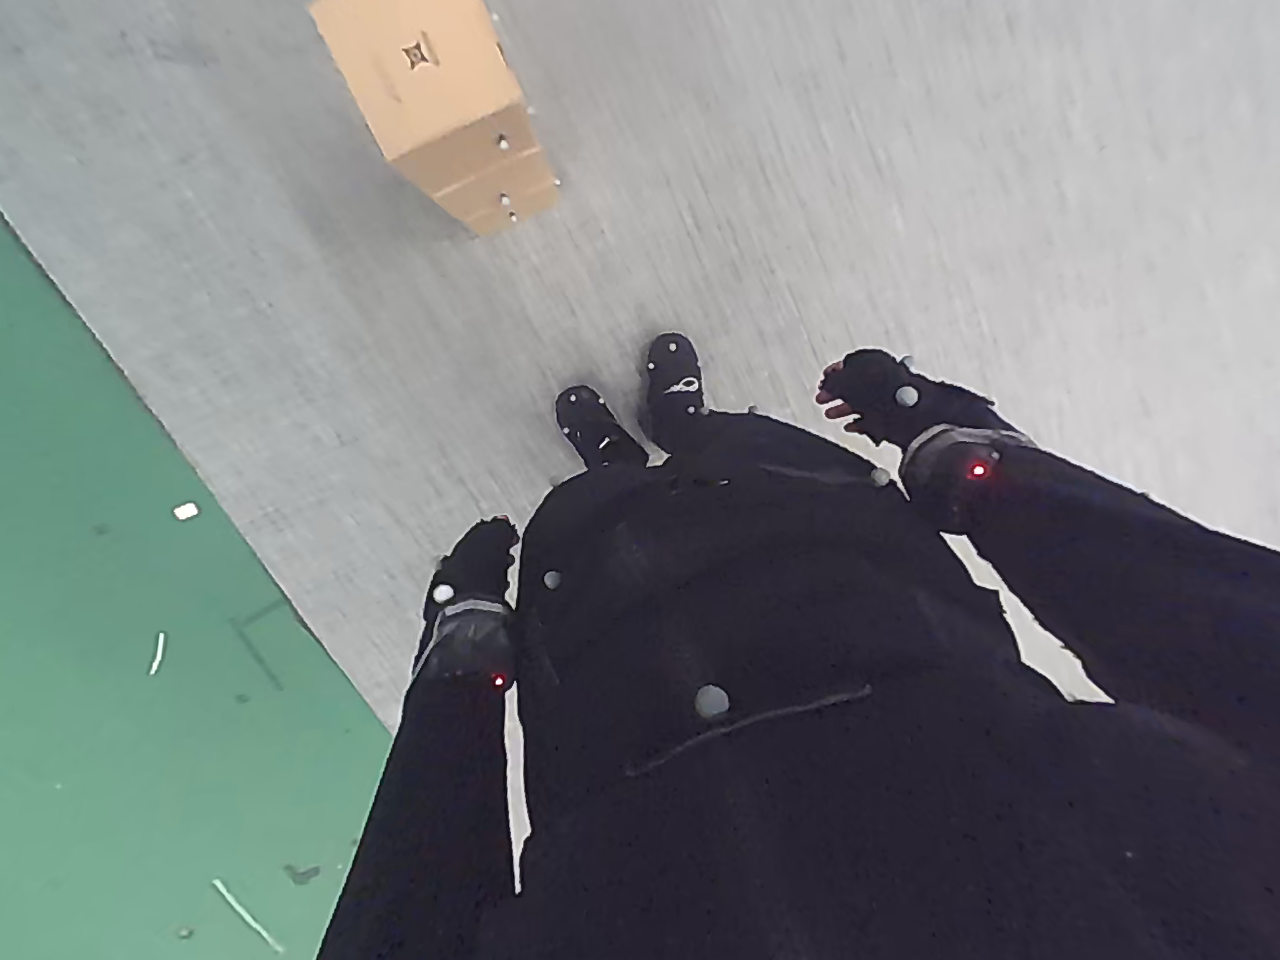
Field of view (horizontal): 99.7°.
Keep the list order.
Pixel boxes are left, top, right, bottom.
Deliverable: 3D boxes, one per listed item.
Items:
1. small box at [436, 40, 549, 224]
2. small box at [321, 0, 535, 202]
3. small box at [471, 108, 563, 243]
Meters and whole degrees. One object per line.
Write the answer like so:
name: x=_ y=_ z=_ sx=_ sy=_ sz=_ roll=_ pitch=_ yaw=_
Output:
small box: x=-0.251 y=-0.524 z=0.841 sx=0.179 sy=0.176 sz=0.168 roll=-23 pitch=106 yaw=2
small box: x=-0.245 y=-0.484 z=0.684 sx=0.179 sy=0.176 sz=0.168 roll=-24 pitch=105 yaw=4
small box: x=-0.254 y=-0.564 z=1.000 sx=0.179 sy=0.176 sz=0.168 roll=-26 pitch=106 yaw=3
